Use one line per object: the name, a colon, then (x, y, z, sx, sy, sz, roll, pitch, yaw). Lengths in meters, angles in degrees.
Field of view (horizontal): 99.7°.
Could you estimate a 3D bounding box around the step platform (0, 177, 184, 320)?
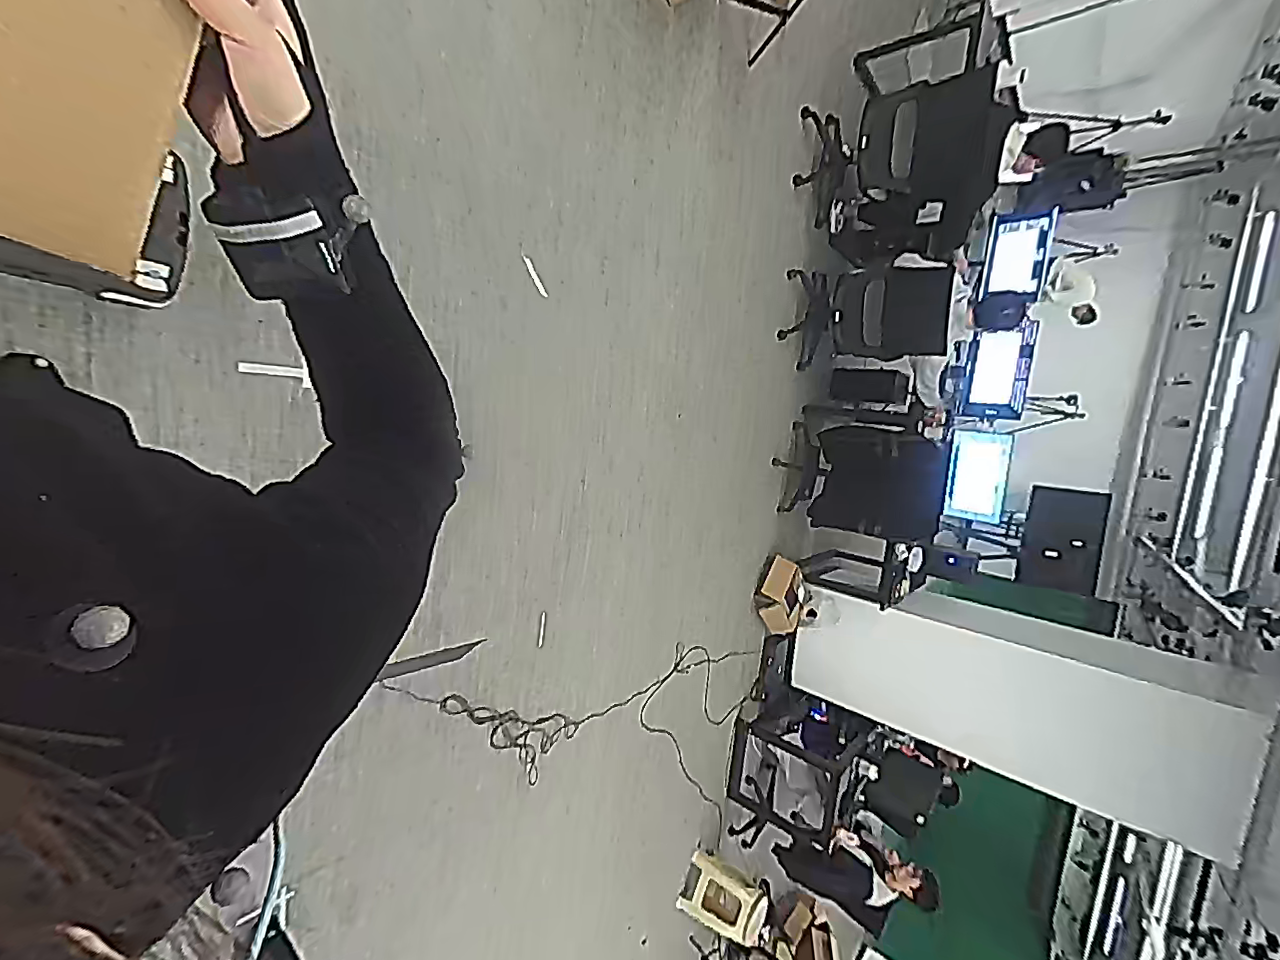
step platform: (-1.119, -0.478, 0.795, 0.684, 0.204, 0.286, 10, 91, -51)
